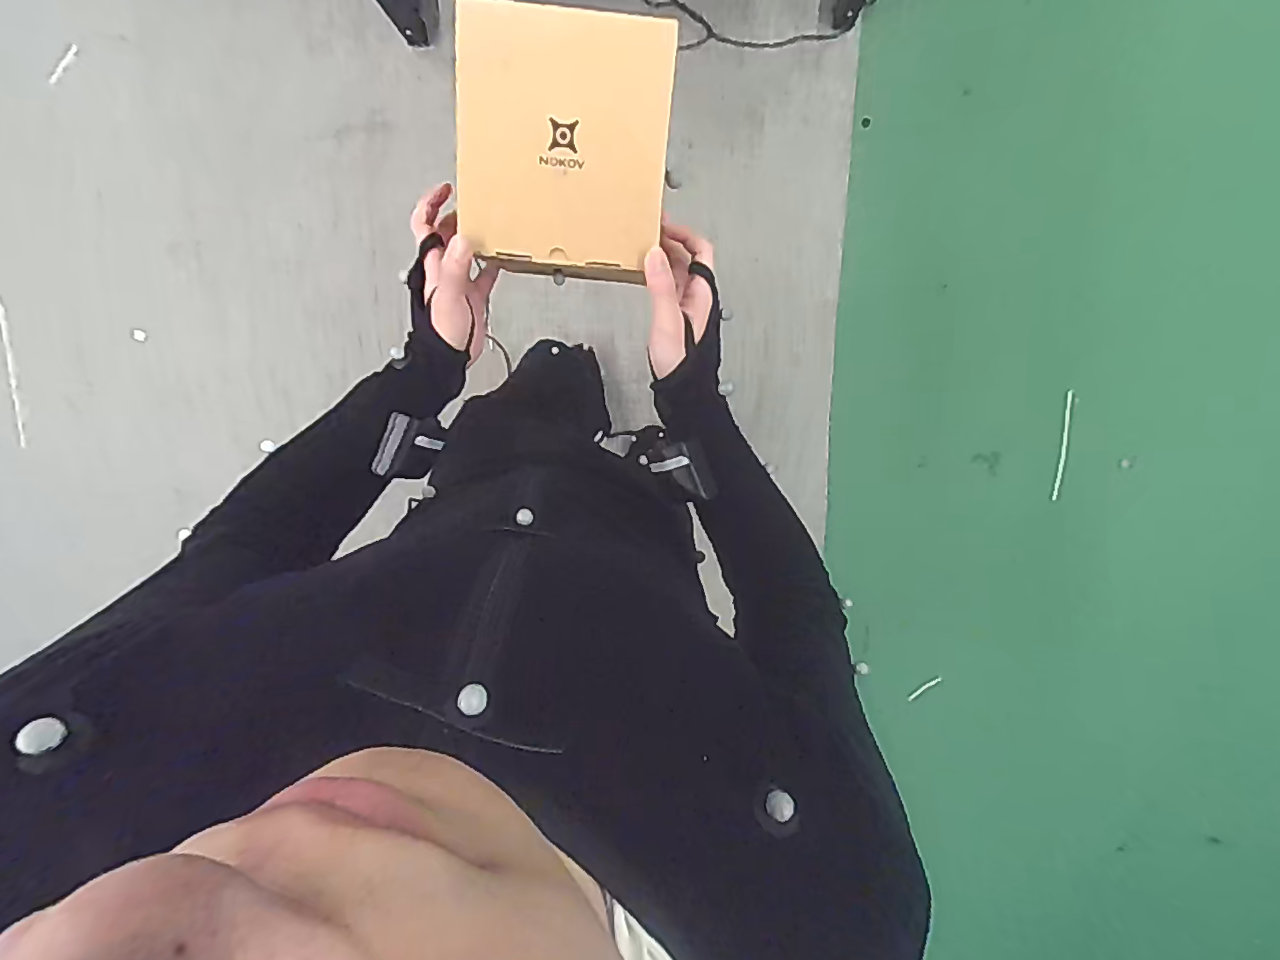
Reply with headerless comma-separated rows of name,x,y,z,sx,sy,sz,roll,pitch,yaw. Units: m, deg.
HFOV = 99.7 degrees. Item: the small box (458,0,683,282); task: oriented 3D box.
small box,-0.060,-0.285,0.494,0.168,0.176,0.179,5,107,-3
